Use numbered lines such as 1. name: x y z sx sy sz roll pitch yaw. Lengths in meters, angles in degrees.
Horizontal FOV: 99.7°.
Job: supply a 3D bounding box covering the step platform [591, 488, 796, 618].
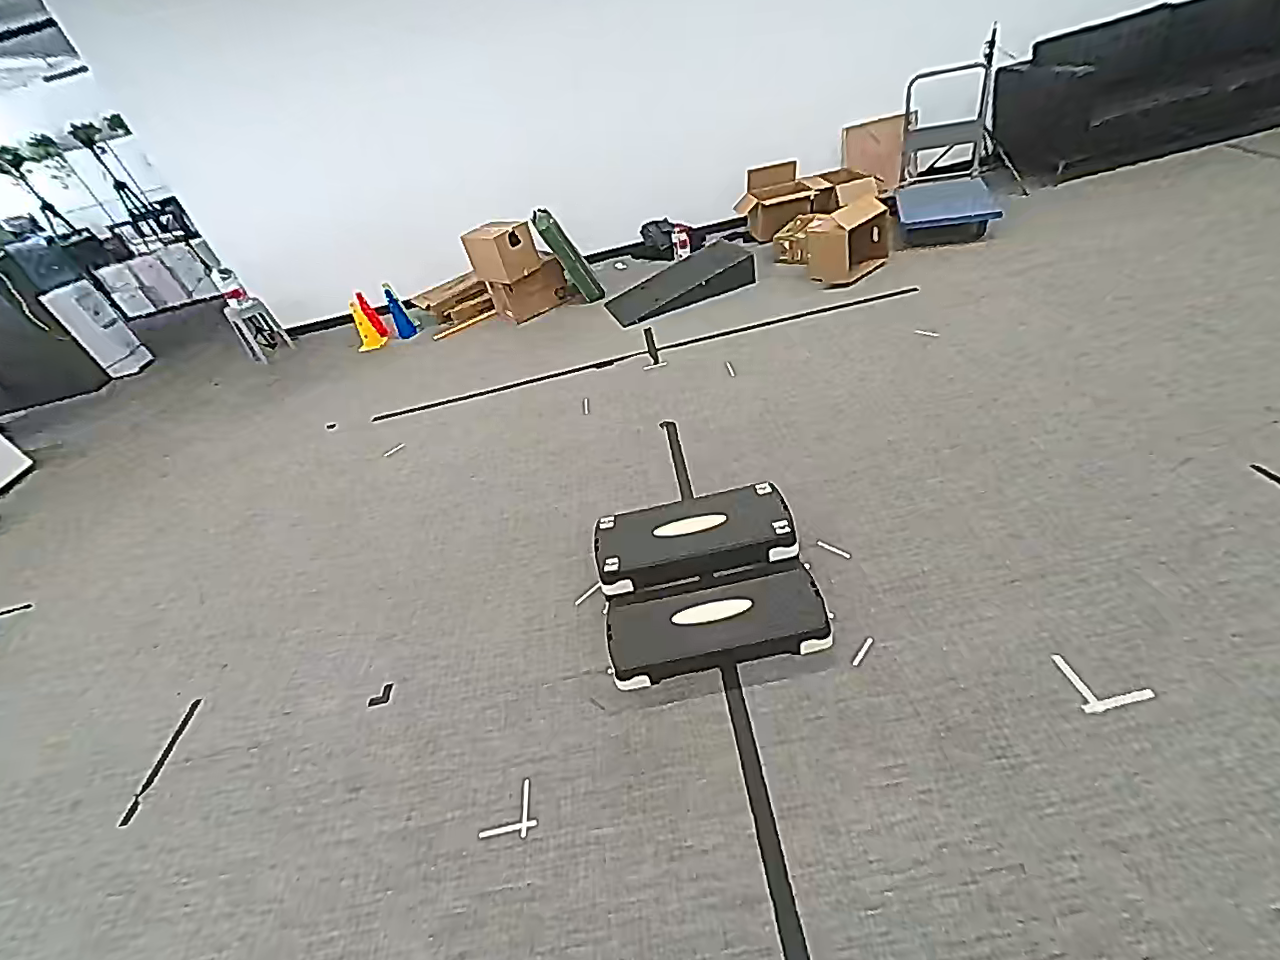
1. step platform: 0.173 0.242 1.854 0.684 0.204 0.286 -13 40 1
